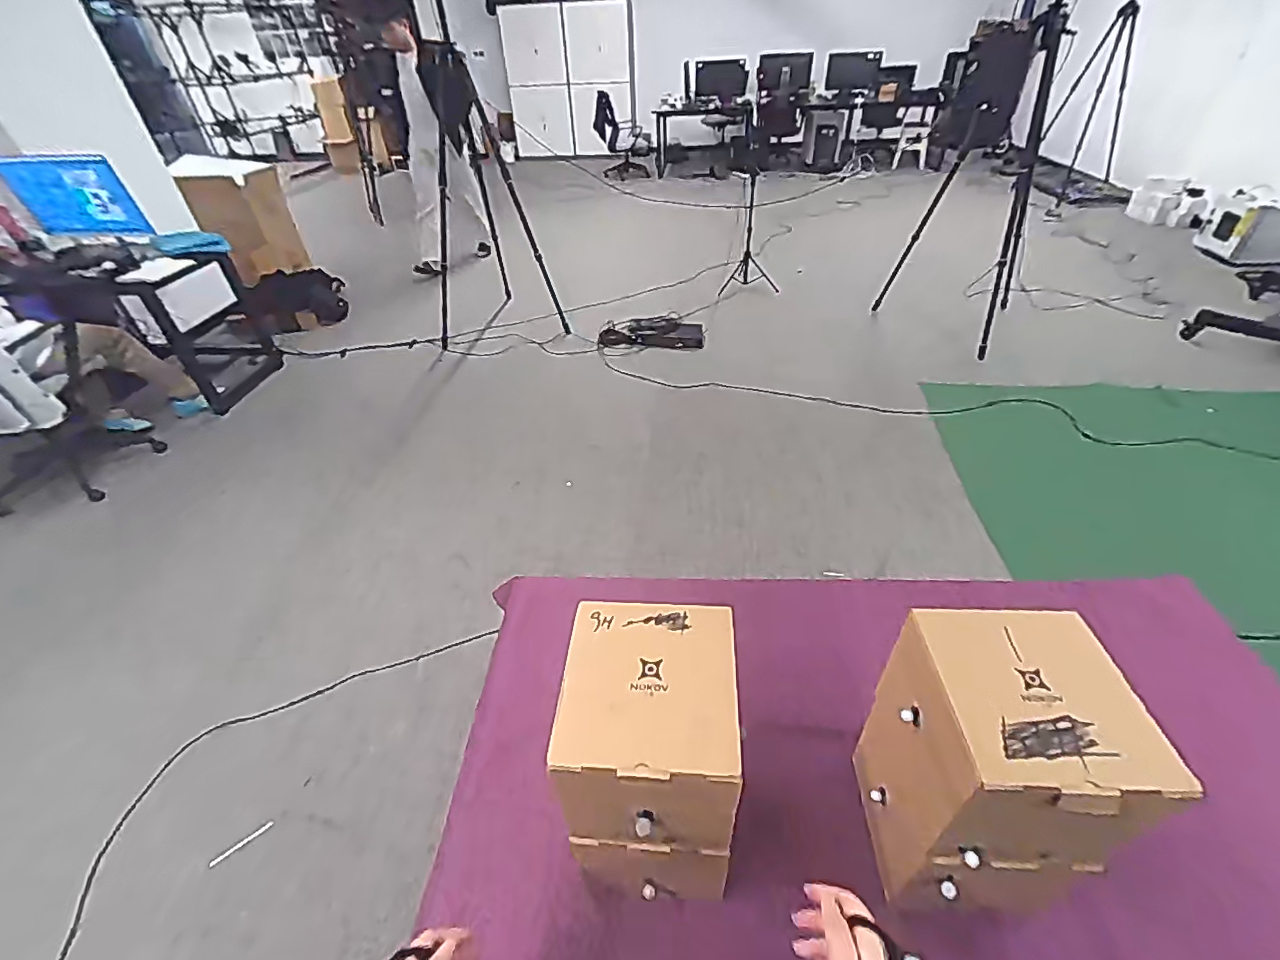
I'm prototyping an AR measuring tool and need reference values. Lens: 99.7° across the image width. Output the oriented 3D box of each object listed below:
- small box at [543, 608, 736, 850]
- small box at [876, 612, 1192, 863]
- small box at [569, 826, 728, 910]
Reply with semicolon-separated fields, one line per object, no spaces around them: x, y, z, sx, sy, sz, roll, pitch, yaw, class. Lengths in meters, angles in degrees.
0.010;0.255;0.558;0.168;0.176;0.179;1;39;5;small box
0.356;0.253;0.537;0.168;0.176;0.179;0;37;4;small box
0.017;0.386;0.658;0.168;0.176;0.179;0;39;5;small box
